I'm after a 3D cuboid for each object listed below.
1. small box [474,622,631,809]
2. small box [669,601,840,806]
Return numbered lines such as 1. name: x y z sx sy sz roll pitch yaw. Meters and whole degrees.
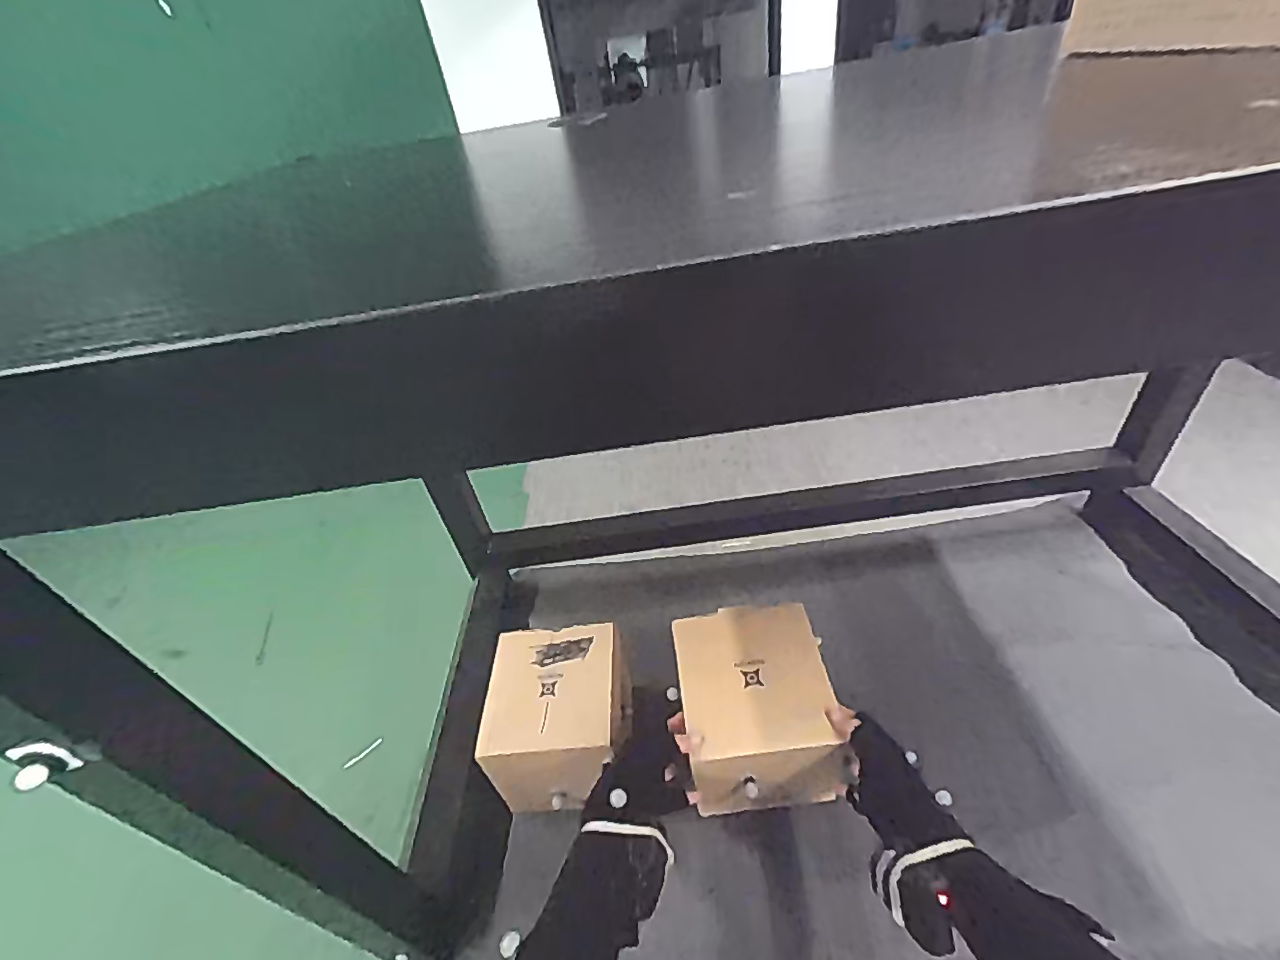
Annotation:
1. small box: -0.107 0.324 0.747 0.168 0.176 0.179 -7 38 4
2. small box: 0.134 0.280 0.668 0.168 0.176 0.179 -9 40 2
